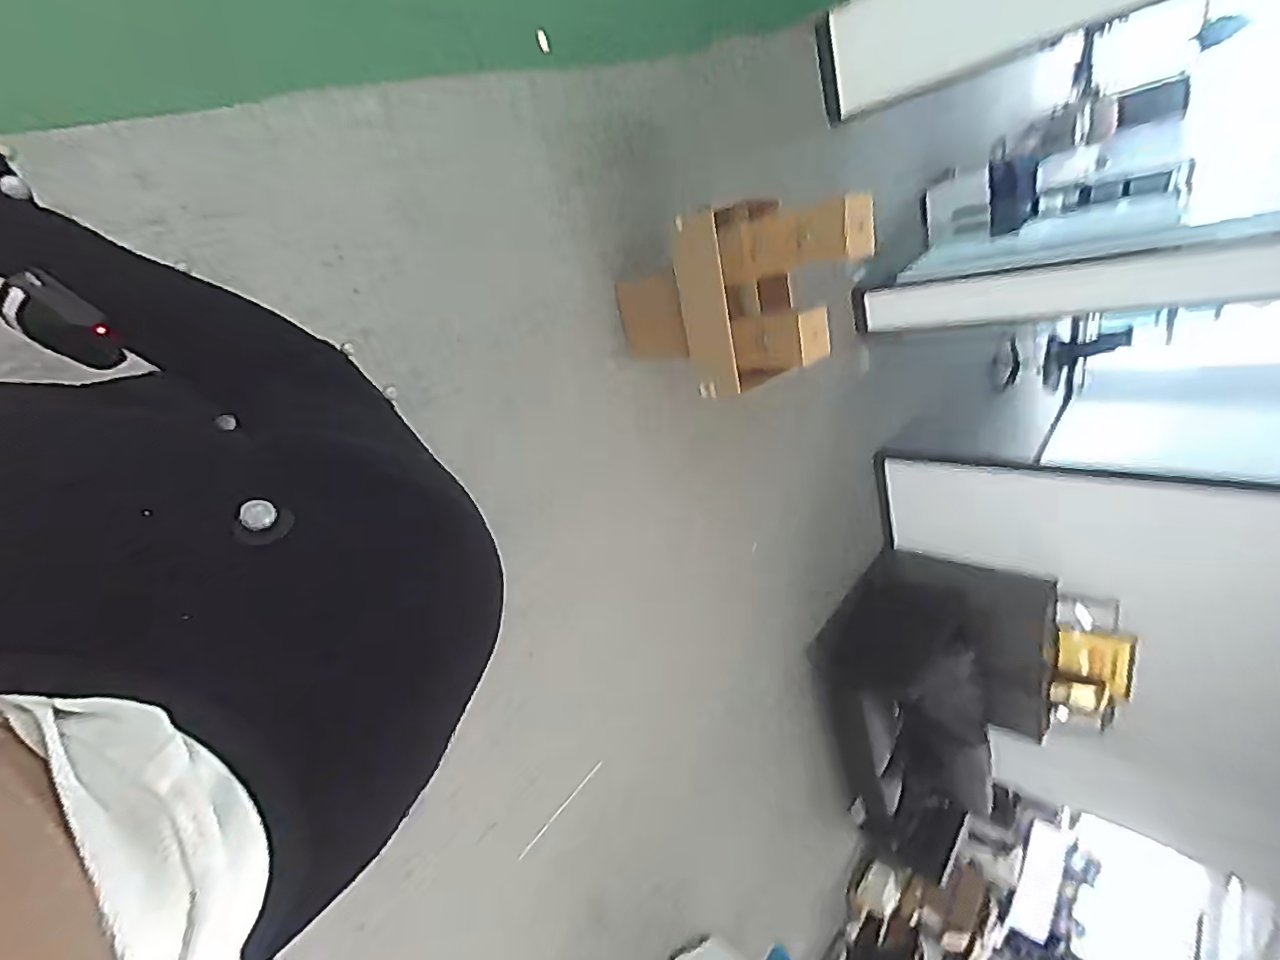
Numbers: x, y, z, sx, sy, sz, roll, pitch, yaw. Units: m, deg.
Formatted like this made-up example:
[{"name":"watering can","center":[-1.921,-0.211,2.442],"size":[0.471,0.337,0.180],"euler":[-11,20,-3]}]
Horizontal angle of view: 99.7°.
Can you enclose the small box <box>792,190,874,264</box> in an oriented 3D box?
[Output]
[{"name":"small box","center":[0.568,-0.742,1.589],"size":[0.179,0.176,0.168],"euler":[-27,115,-38]}]

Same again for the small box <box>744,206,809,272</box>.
[{"name":"small box","center":[0.452,-0.761,1.705],"size":[0.179,0.176,0.168],"euler":[-28,116,-37]}]

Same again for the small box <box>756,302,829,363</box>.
[{"name":"small box","center":[0.510,-0.491,1.806],"size":[0.179,0.176,0.168],"euler":[-28,115,-37]}]

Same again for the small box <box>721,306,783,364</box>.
[{"name":"small box","center":[0.401,-0.514,1.925],"size":[0.179,0.176,0.168],"euler":[-29,116,-38]}]
